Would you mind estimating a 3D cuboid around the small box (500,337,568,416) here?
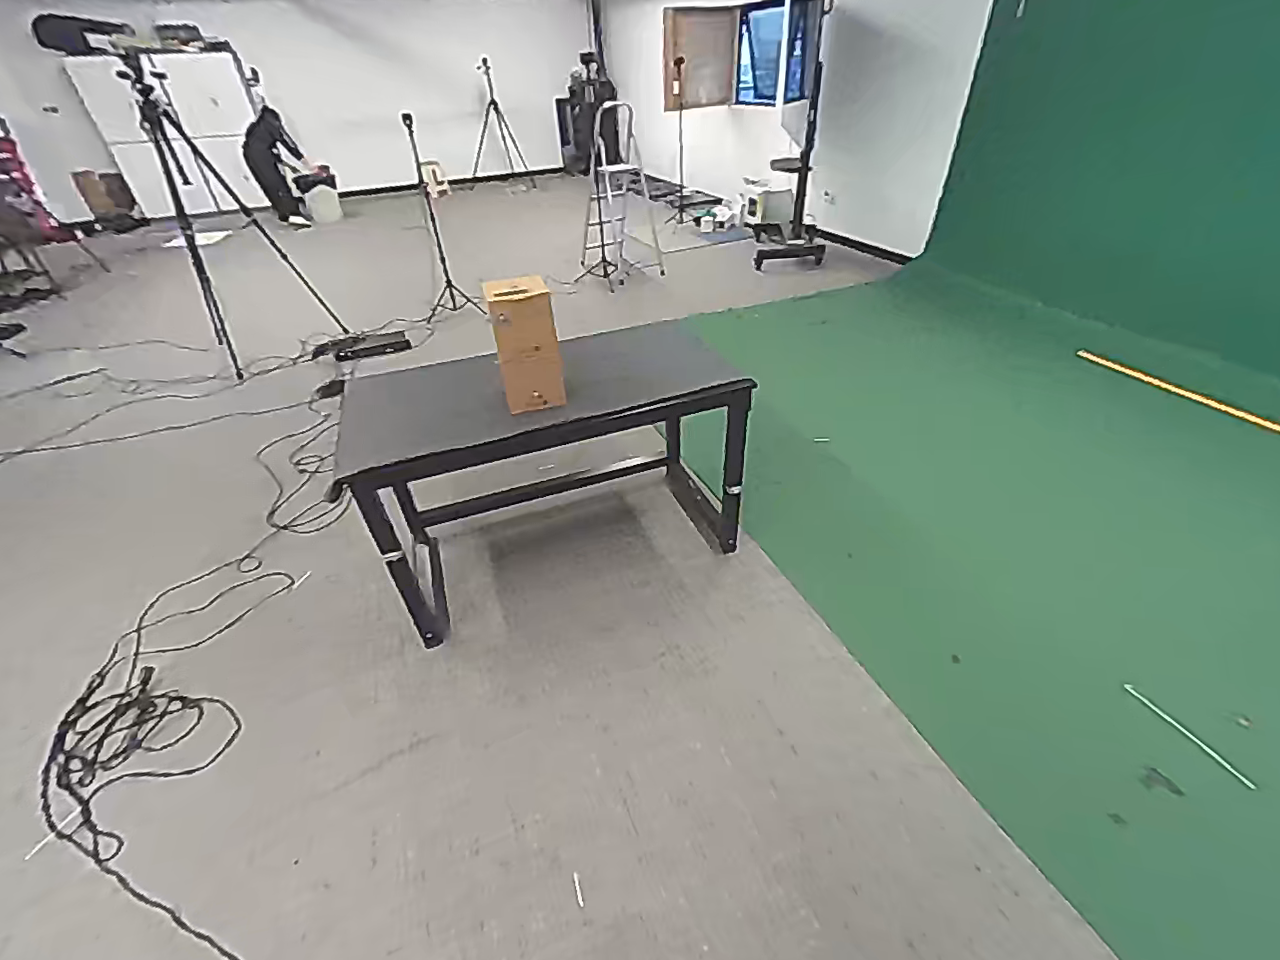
[{"bbox_3d":[-0.316,-0.309,1.611,0.168,0.176,0.179,-12,37,-11],"label":"small box"}]
